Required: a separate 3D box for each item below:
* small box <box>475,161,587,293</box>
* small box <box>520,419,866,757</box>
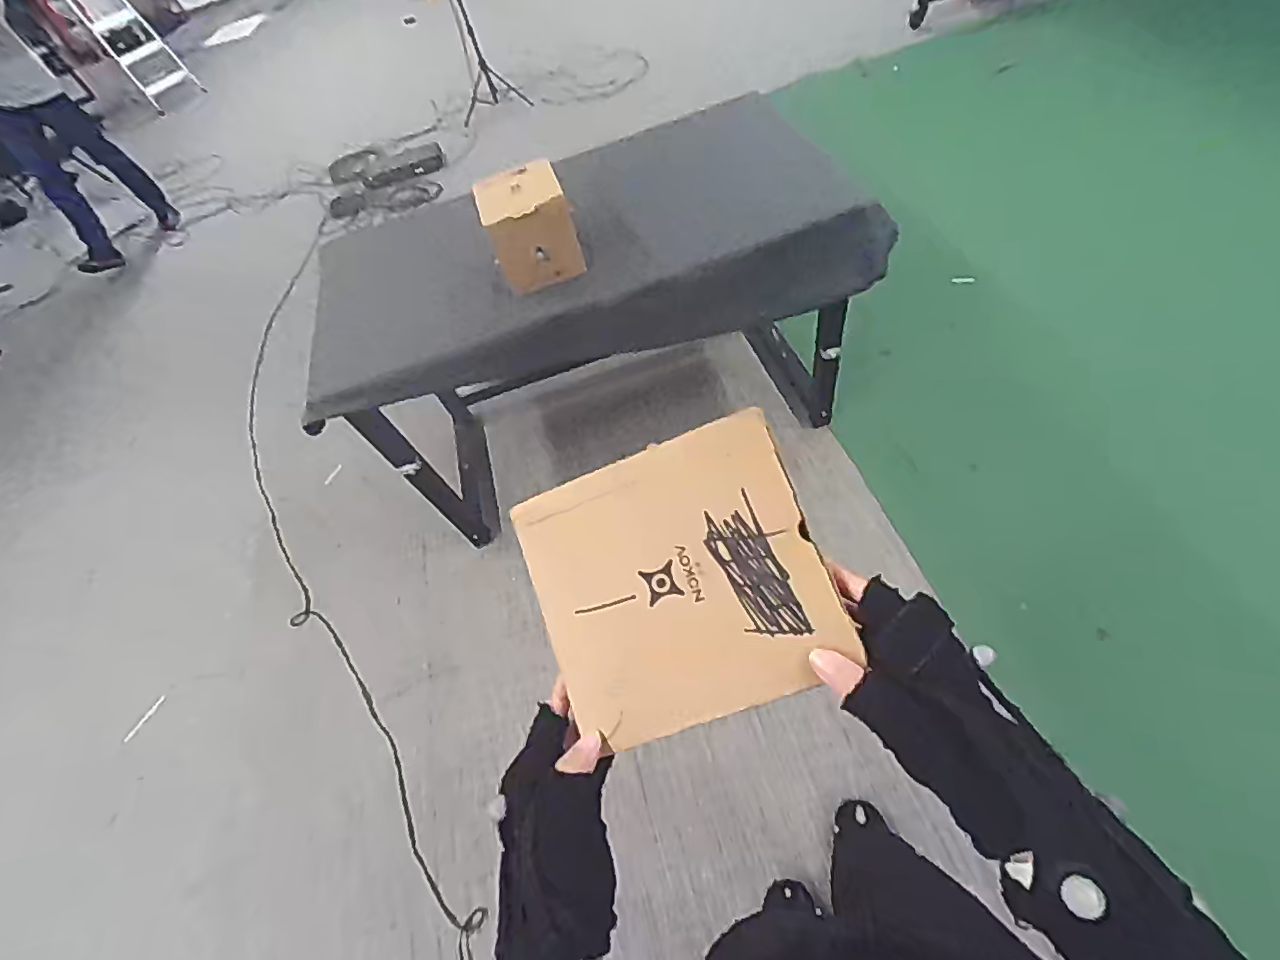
[{"bbox_3d":[-0.221,-0.514,1.120,0.168,0.176,0.179,-20,56,-1],"label":"small box"},{"bbox_3d":[0.040,0.075,0.411,0.179,0.176,0.168,-22,78,8],"label":"small box"}]
